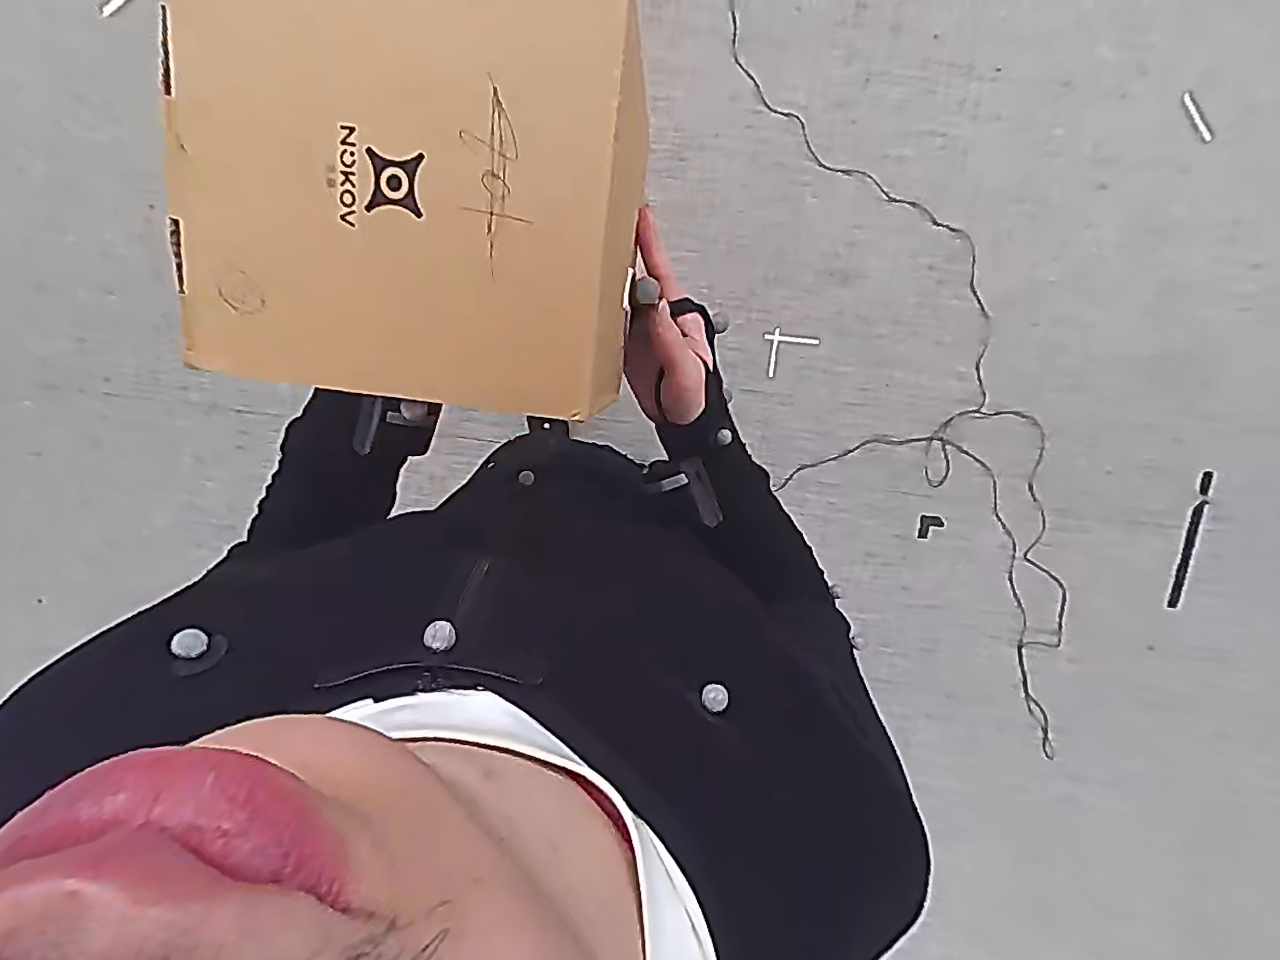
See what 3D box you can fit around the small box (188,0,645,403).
[{"bbox_3d":[-0.095,-0.140,0.300,0.179,0.176,0.168,8,103,1],"label":"small box"}]
